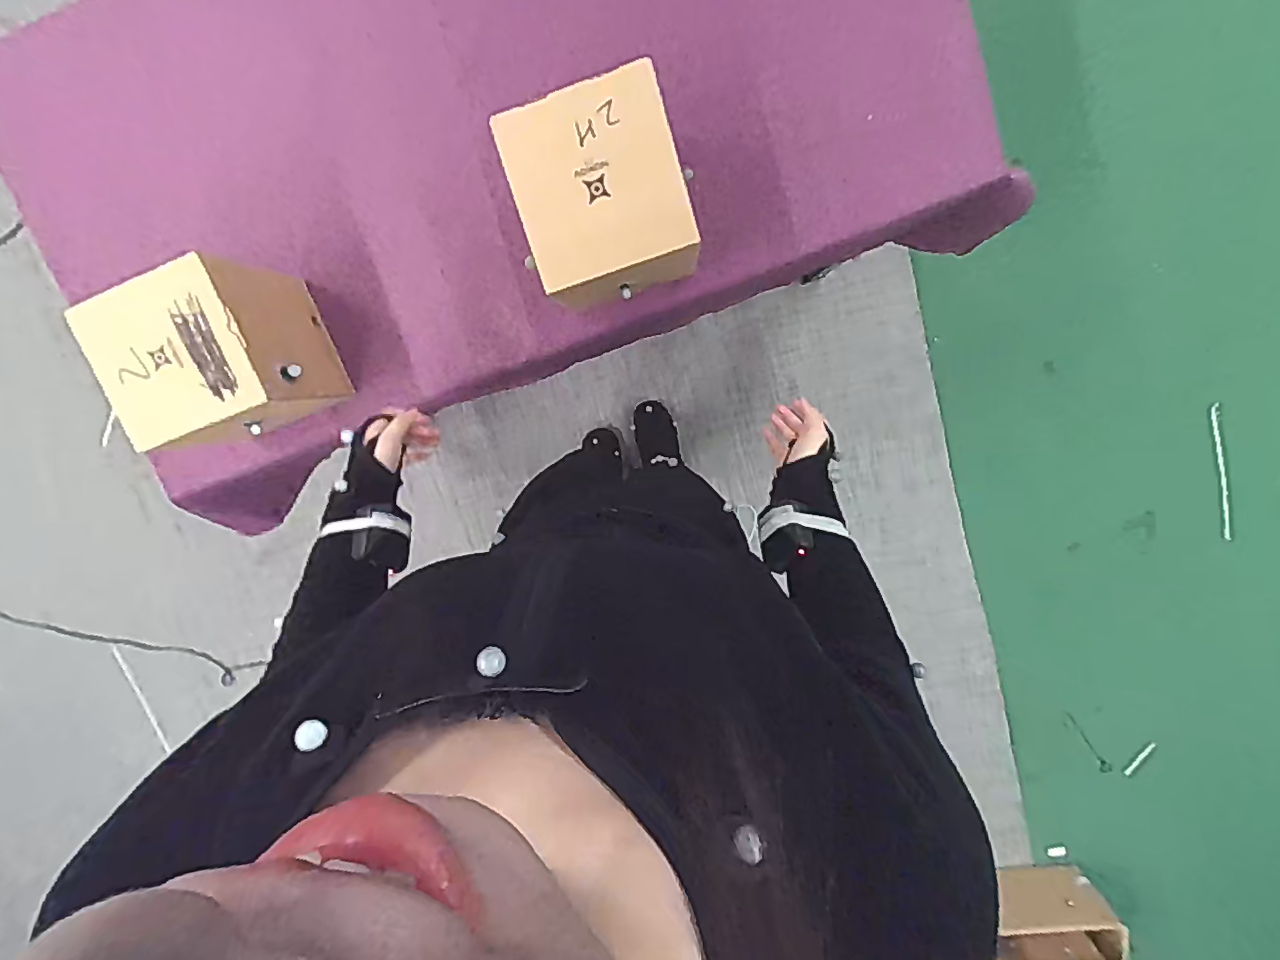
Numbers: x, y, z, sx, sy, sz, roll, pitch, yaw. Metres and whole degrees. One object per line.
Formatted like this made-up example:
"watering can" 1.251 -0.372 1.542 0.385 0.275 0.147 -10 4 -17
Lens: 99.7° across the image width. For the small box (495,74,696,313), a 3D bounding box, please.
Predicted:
"small box" -0.038 -0.300 0.615 0.168 0.176 0.179 -16 99 5
